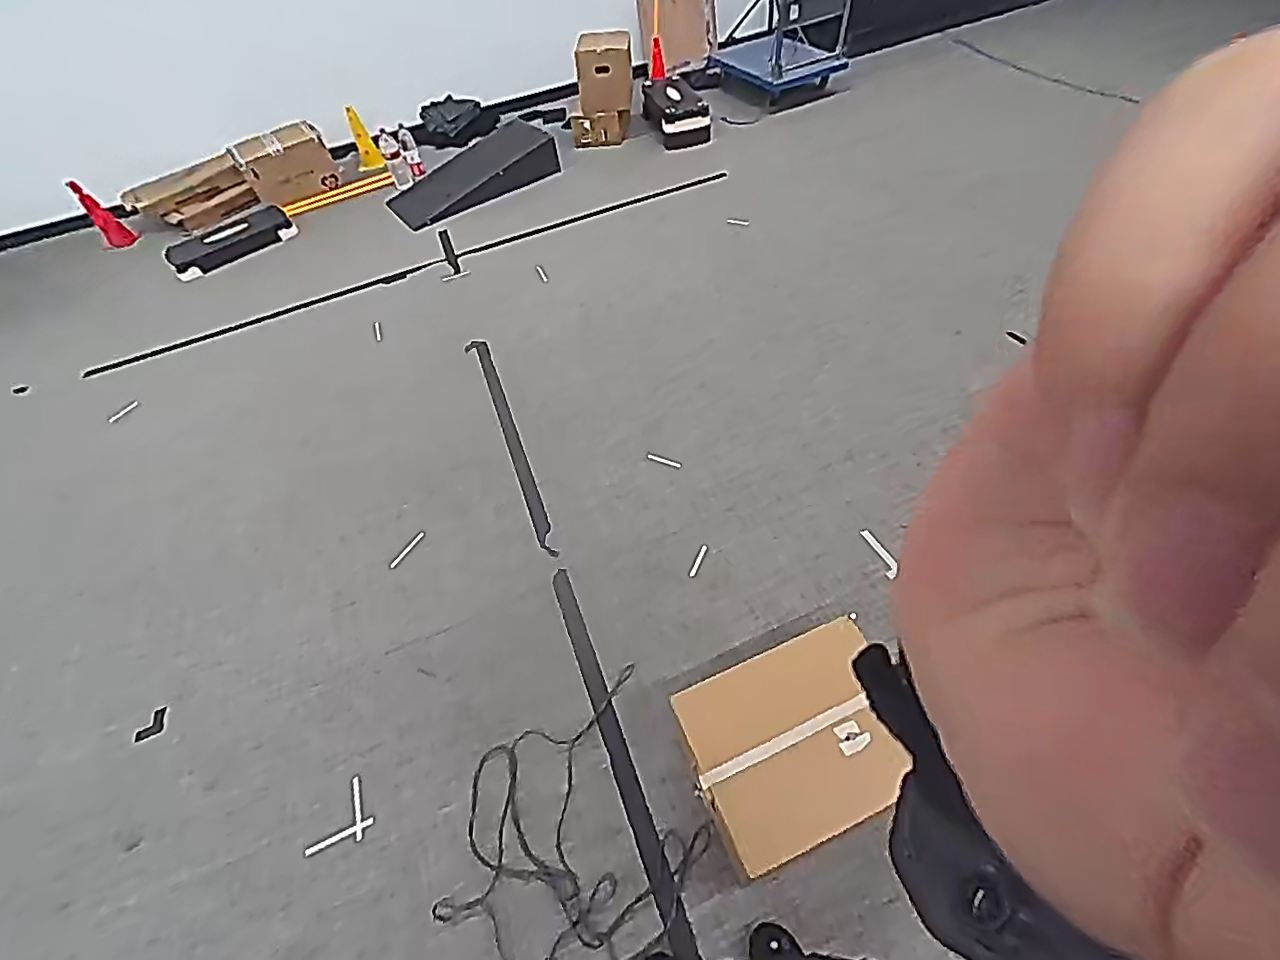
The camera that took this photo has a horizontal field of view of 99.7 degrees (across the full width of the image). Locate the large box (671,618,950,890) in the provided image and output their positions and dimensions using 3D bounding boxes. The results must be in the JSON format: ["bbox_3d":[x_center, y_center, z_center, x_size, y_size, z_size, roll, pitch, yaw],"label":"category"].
[{"bbox_3d":[0.311,0.553,1.095,0.408,0.320,0.320,-21,52,-10],"label":"large box"}]
